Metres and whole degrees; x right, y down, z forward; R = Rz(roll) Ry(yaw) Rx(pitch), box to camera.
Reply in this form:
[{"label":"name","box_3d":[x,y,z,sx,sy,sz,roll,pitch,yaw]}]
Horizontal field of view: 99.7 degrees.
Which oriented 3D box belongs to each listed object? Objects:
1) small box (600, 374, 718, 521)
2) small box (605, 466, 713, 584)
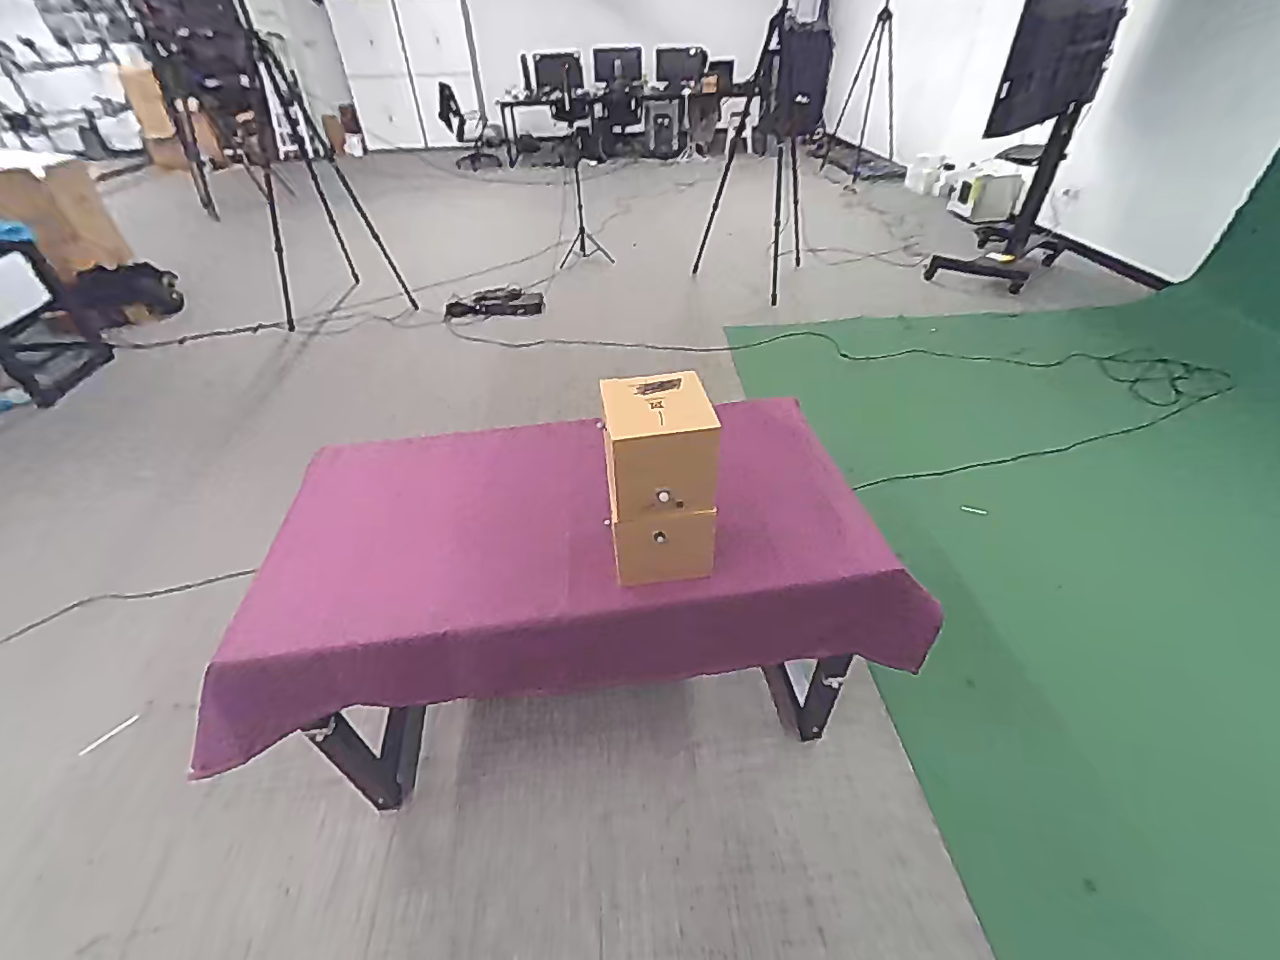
[{"label":"small box","box_3d":[0.026,-0.056,0.900,0.168,0.176,0.179,-7,41,-5]},{"label":"small box","box_3d":[0.032,0.075,0.999,0.179,0.176,0.168,-5,41,-3]}]
